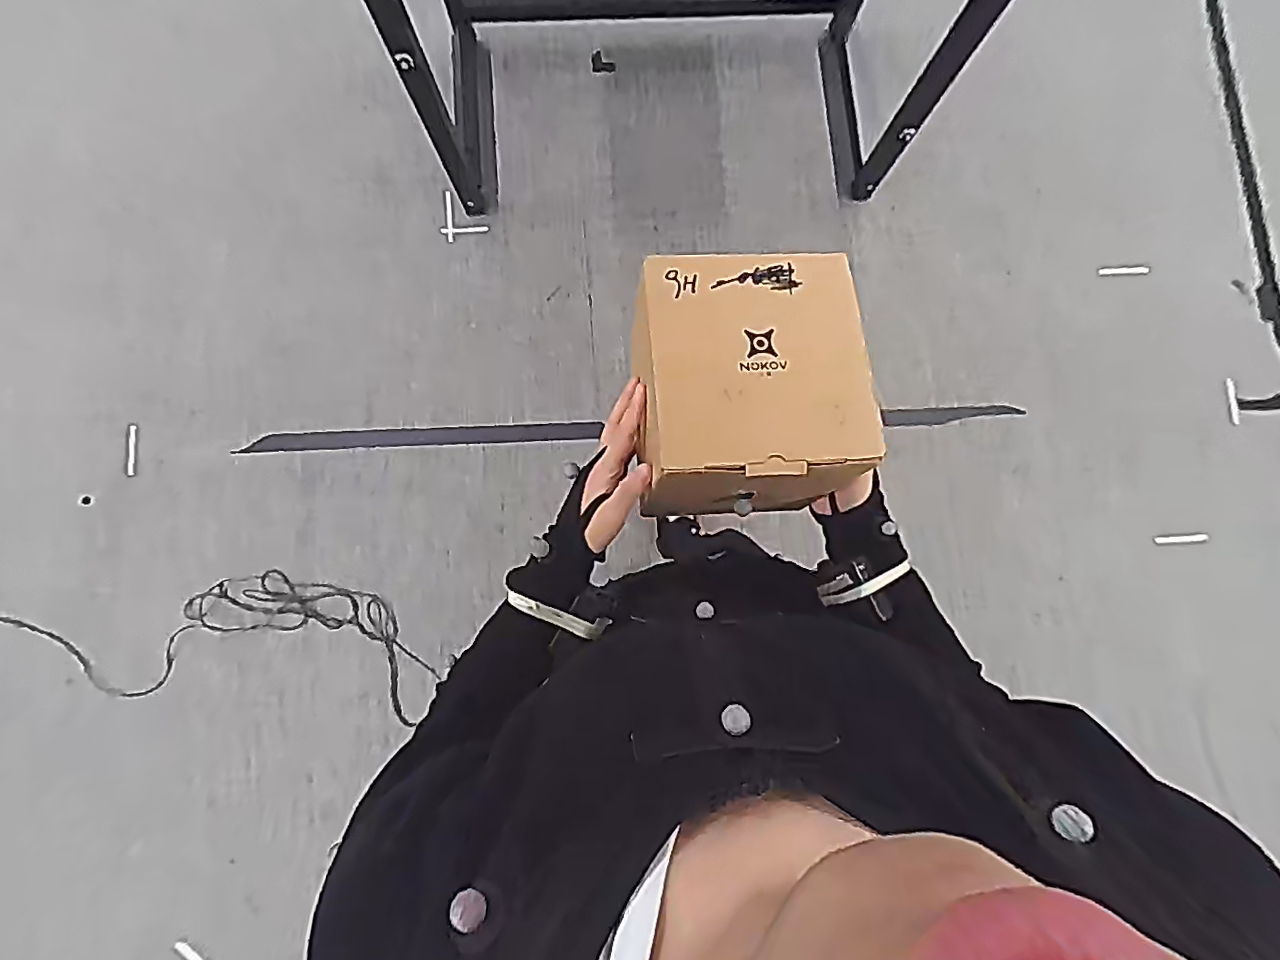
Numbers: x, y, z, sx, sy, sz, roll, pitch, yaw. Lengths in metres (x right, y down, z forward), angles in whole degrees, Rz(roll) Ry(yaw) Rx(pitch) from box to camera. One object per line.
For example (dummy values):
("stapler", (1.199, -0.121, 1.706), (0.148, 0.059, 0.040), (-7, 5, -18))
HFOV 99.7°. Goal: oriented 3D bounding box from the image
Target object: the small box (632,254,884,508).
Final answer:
("small box", (0.084, -0.072, 0.477), (0.168, 0.176, 0.179), (-3, 76, -6))
